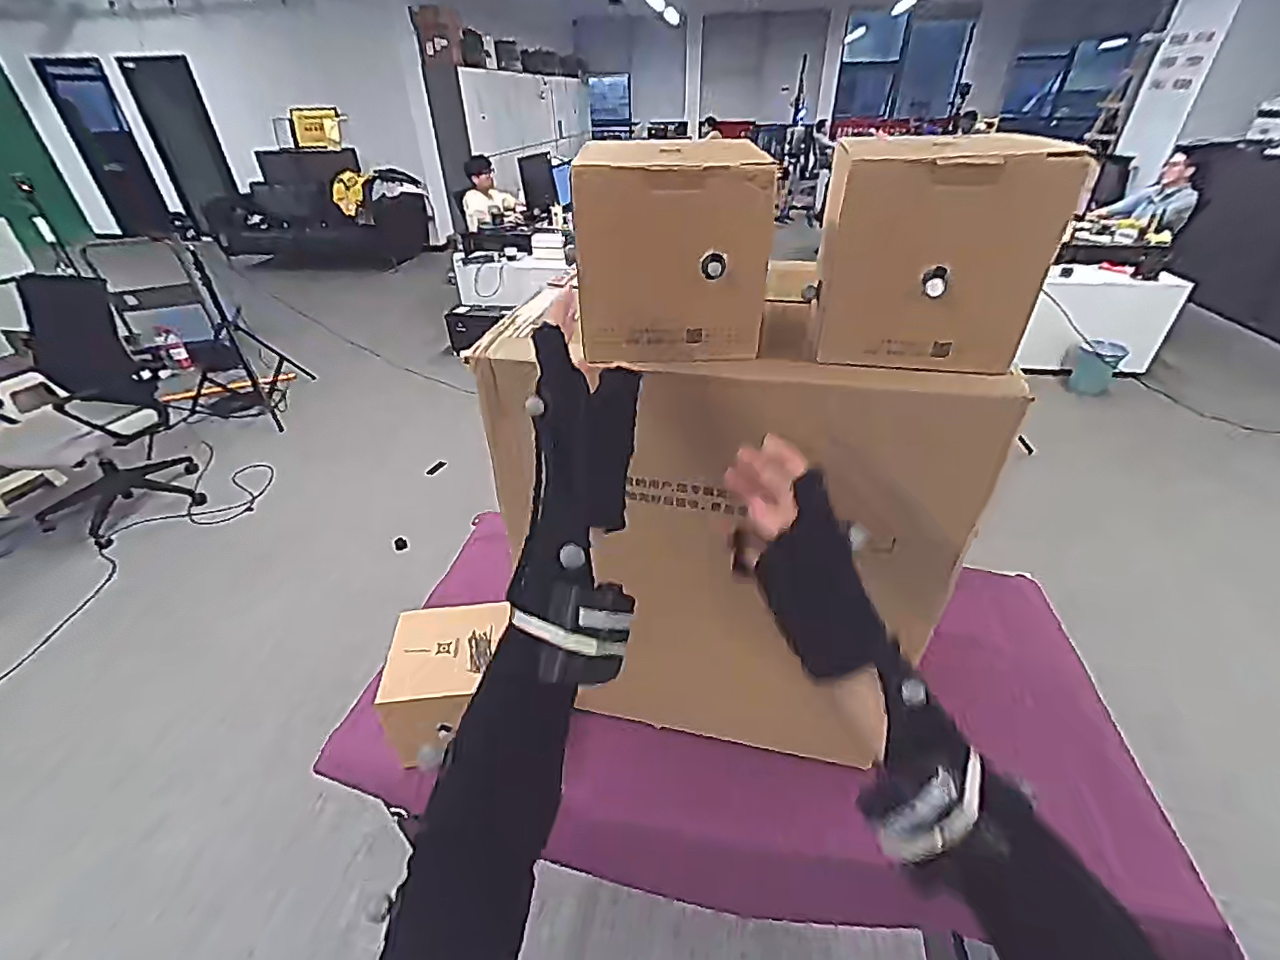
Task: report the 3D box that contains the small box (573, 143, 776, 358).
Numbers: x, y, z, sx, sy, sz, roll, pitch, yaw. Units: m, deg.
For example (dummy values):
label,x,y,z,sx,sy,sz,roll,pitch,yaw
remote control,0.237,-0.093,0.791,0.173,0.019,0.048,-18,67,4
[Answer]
label,x,y,z,sx,sy,sz,roll,pitch,yaw
small box,0.030,-0.230,0.540,0.168,0.176,0.179,0,35,0

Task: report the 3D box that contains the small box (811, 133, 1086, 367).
label,x,y,z,sx,sy,sz,roll,pitch,yaw
small box,0.260,-0.218,0.509,0.168,0.176,0.179,7,38,11
